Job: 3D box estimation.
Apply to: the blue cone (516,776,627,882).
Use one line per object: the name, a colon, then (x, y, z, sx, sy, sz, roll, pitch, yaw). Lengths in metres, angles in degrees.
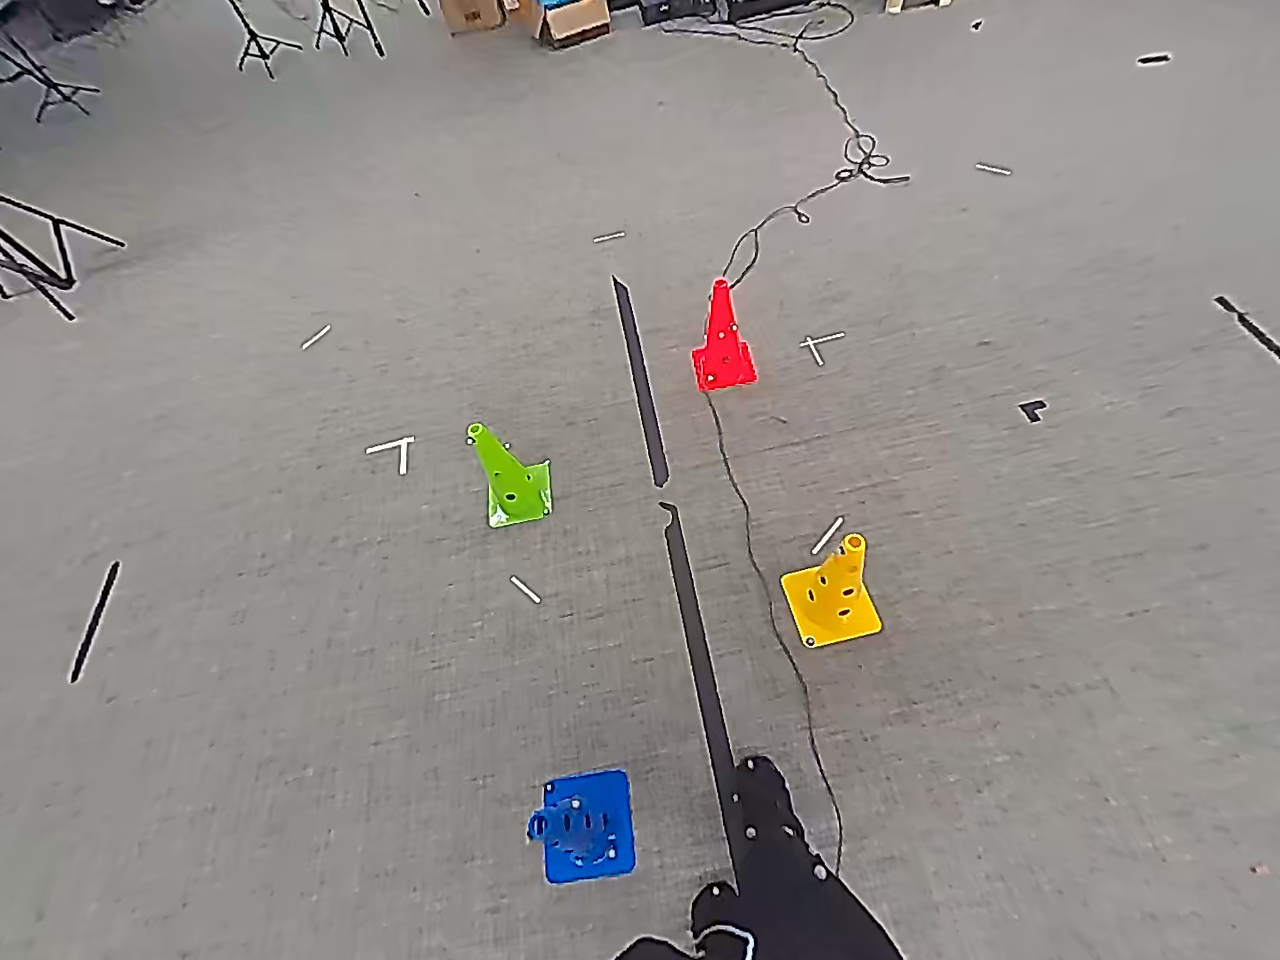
blue cone: (-0.154, 0.686, 1.071, 0.192, 0.380, 0.193, -9, 57, 5)

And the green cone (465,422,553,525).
green cone: (-0.405, -0.049, 1.563, 0.202, 0.368, 0.200, -13, 57, 3)

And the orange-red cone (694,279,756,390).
orange-red cone: (0.267, -0.481, 1.719, 0.199, 0.360, 0.198, -8, 59, 4)
